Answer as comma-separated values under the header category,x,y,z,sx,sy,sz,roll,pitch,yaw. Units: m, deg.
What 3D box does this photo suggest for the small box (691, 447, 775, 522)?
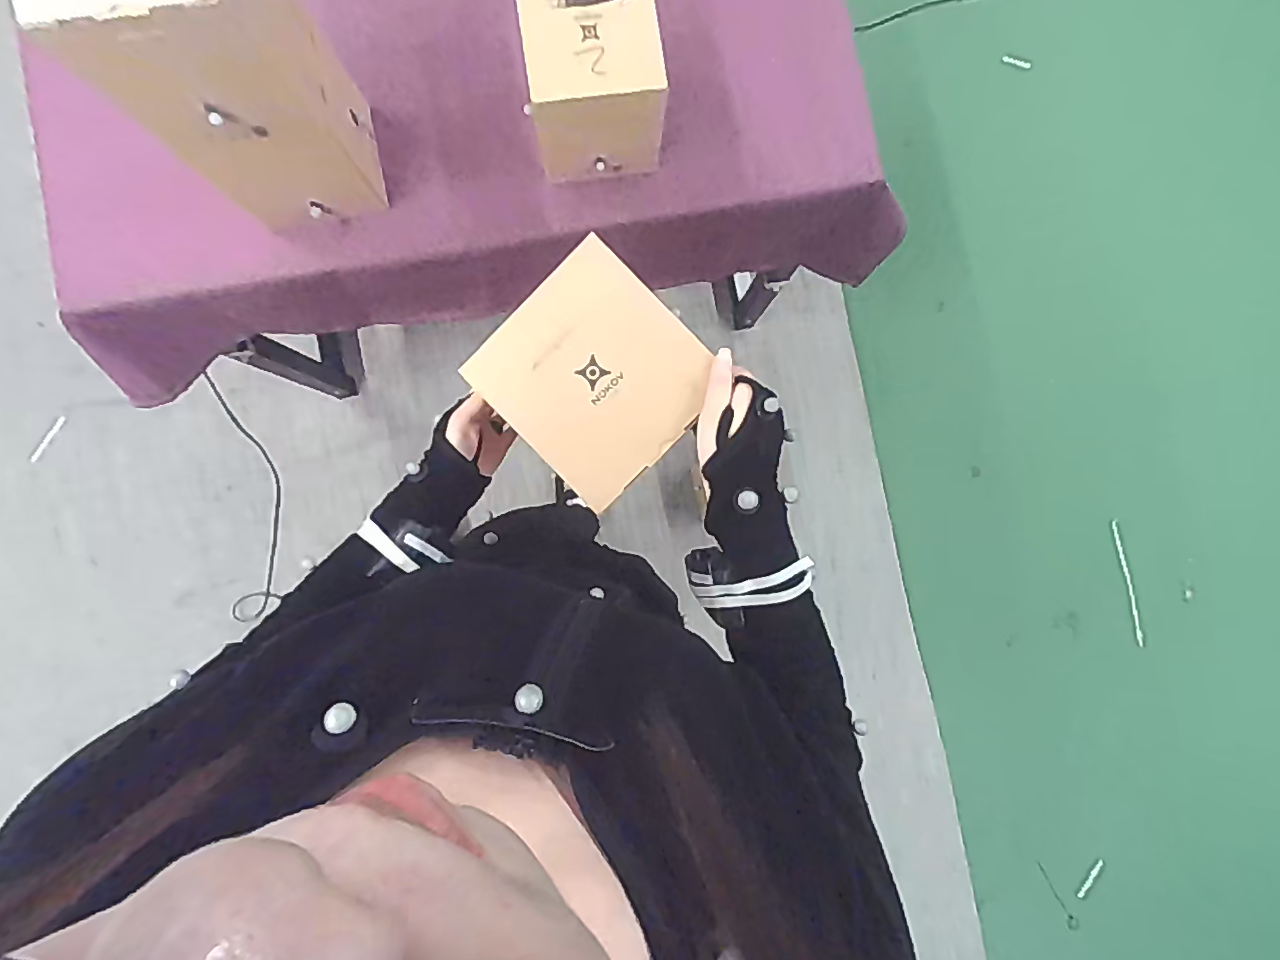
category,x,y,z,sx,sy,sz,roll,pitch,yaw
small box,0.240,0.015,1.454,0.179,0.176,0.168,-13,89,-4

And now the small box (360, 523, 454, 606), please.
category,x,y,z,sx,sy,sz,roll,pitch,yaw
small box,-0.593,0.212,1.398,0.168,0.176,0.179,-10,87,-4

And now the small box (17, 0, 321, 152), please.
category,x,y,z,sx,sy,sz,roll,pitch,yaw
small box,-0.451,-0.469,0.536,0.168,0.176,0.179,-11,88,-3

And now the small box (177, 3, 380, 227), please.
category,x,y,z,sx,sy,sz,roll,pitch,yaw
small box,-0.459,-0.457,0.701,0.179,0.176,0.168,-12,88,-4
